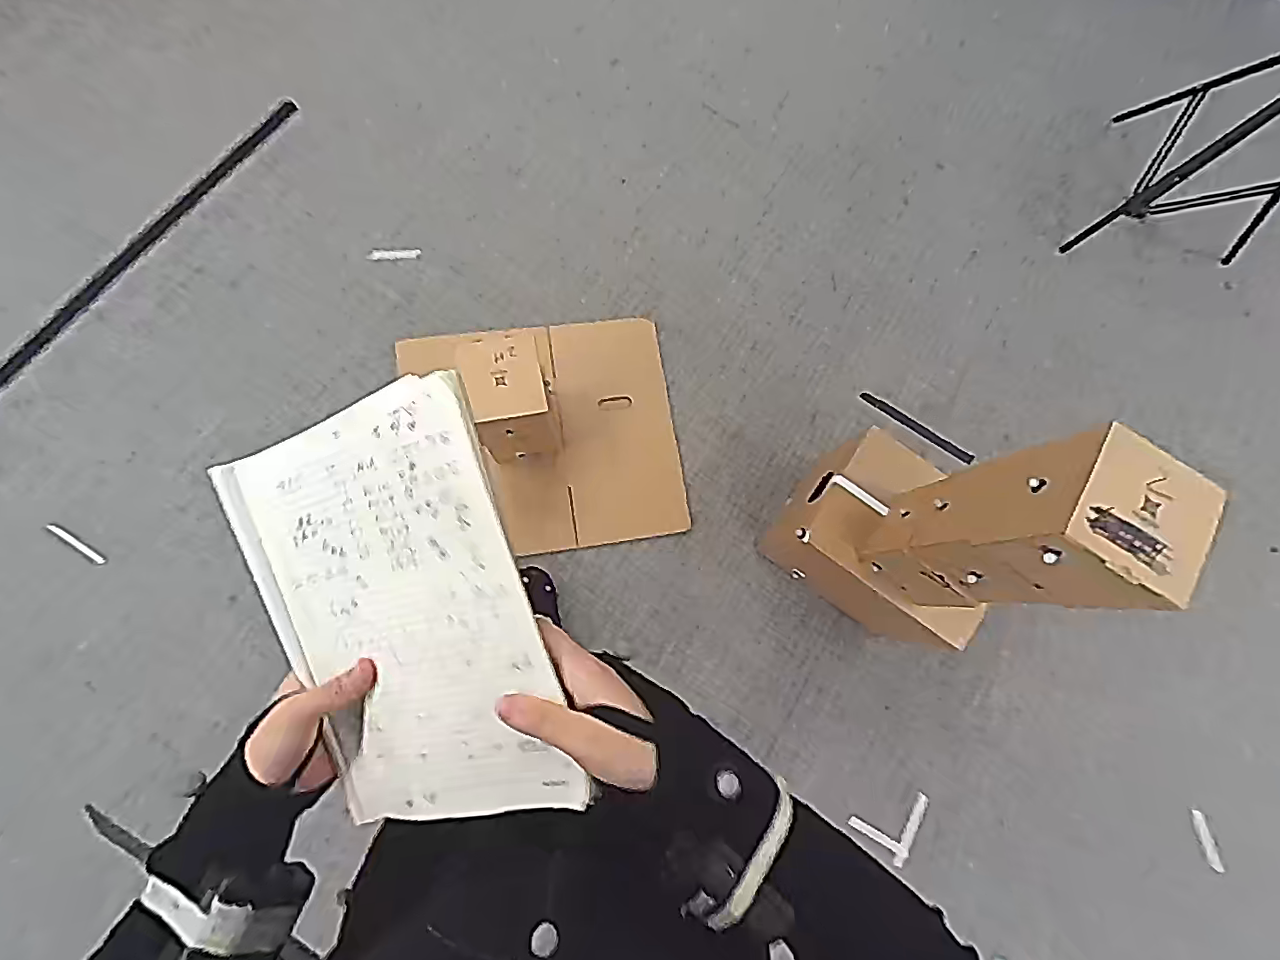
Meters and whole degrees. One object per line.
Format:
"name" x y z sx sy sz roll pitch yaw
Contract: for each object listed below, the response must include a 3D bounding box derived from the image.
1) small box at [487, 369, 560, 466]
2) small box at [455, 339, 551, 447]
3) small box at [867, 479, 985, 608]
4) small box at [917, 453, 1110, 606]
"small box" -0.292 -0.148 1.322 0.168 0.176 0.179 -12 81 -9
"small box" -0.286 -0.177 1.159 0.168 0.176 0.179 -10 79 -10
"small box" 0.573 0.129 1.045 0.168 0.176 0.179 38 77 3
"small box" 0.595 0.087 0.888 0.168 0.176 0.179 36 78 2
